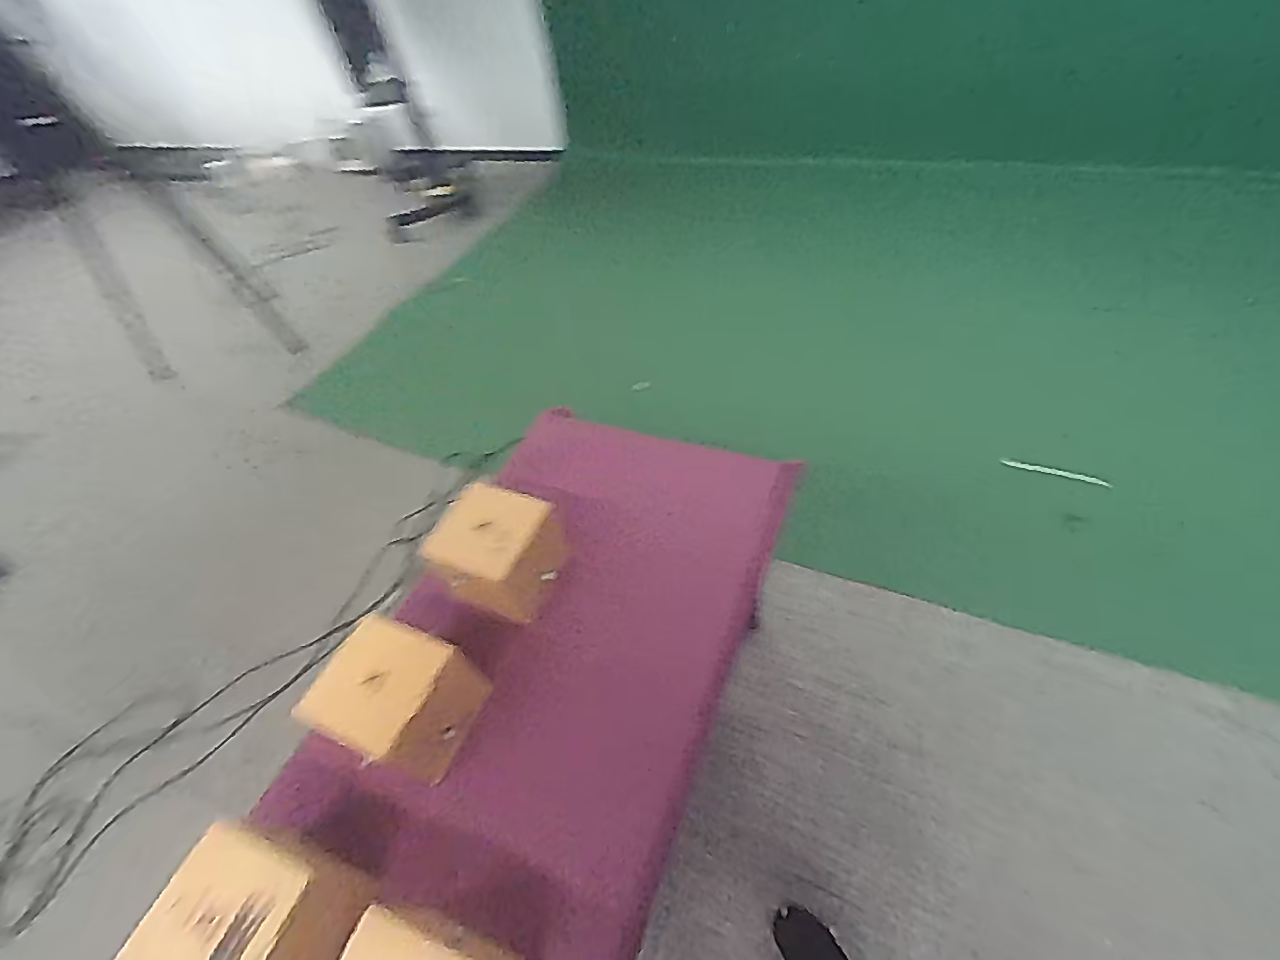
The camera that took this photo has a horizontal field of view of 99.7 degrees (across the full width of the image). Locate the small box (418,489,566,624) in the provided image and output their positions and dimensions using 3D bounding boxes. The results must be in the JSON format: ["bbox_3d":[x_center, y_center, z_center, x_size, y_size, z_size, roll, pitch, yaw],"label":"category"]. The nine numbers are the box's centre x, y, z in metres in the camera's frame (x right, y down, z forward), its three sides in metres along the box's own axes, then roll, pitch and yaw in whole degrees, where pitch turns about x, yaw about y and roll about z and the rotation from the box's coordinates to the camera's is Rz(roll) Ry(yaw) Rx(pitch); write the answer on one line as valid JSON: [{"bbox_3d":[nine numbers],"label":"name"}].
[{"bbox_3d":[-0.265,0.146,1.008,0.179,0.176,0.168,14,55,21],"label":"small box"}]

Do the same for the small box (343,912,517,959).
[{"bbox_3d":[-0.245,0.619,0.607,0.179,0.176,0.168,9,53,21],"label":"small box"}]

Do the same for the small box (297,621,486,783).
[{"bbox_3d":[-0.381,0.356,0.860,0.179,0.176,0.168,13,54,20],"label":"small box"}]
